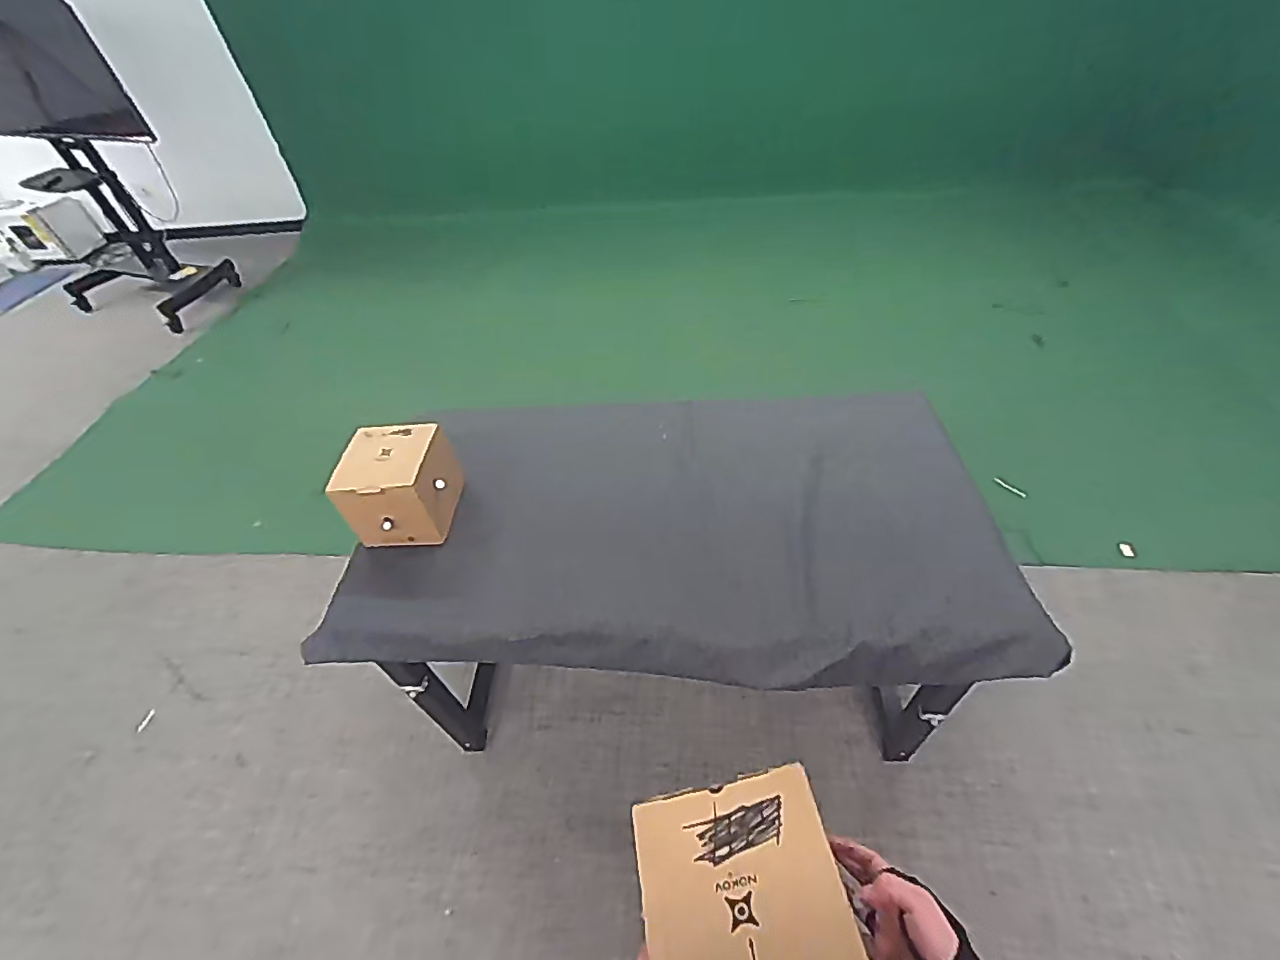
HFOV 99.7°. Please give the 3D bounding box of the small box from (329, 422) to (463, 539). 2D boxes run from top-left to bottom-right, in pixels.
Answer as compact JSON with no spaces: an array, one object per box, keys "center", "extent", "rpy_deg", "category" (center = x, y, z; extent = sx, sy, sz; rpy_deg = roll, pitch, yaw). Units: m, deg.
[{"center":[-0.470,0.007,1.076],"extent":[0.168,0.176,0.179],"rpy_deg":[-2,48,3],"category":"small box"}]
